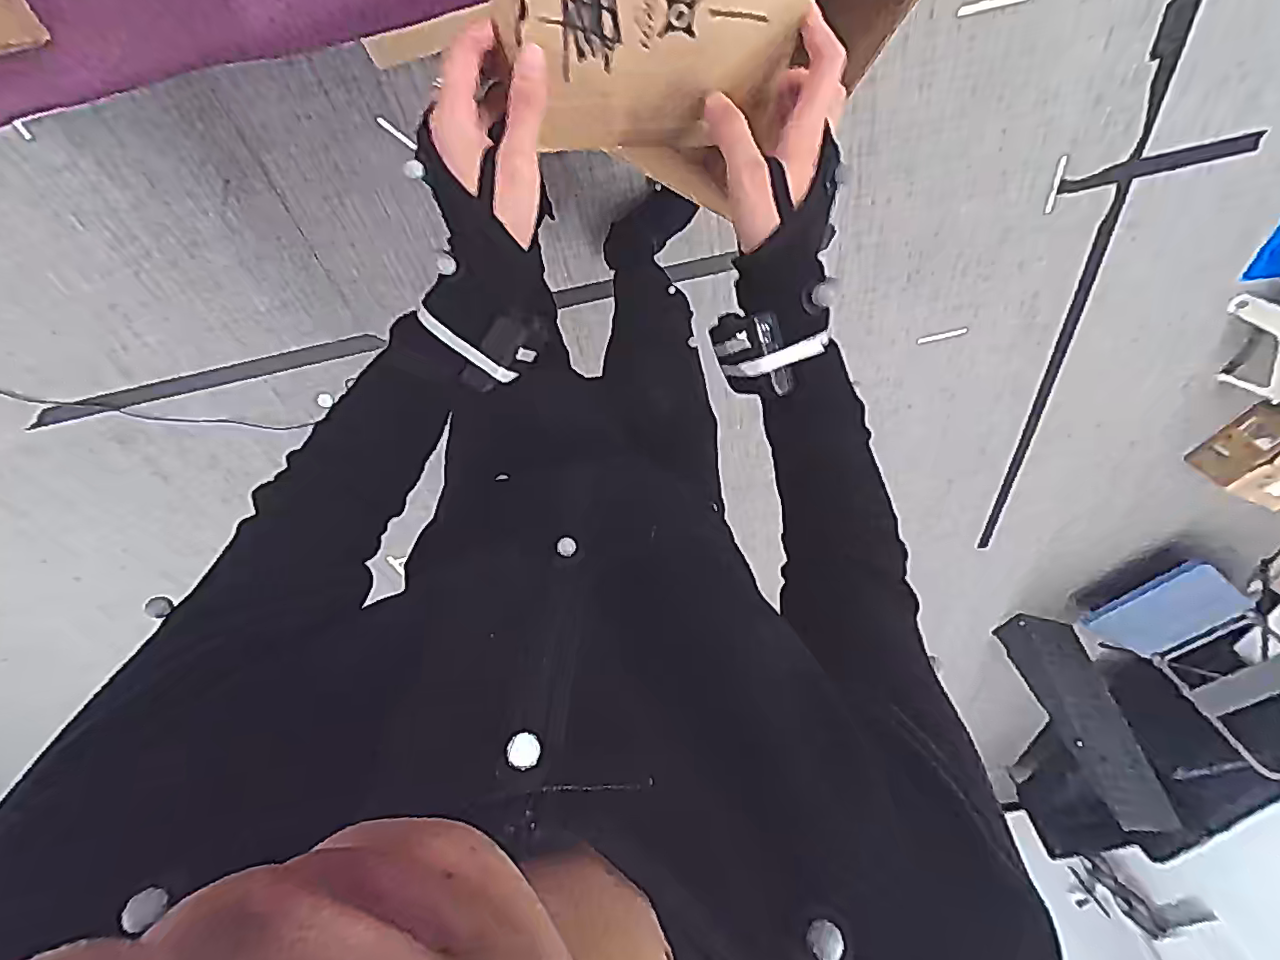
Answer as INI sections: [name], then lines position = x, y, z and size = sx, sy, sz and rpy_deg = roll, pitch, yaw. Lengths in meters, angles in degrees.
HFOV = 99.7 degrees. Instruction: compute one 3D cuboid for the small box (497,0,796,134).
[small box]
position = 0.003, -0.357, 0.337
size = 0.179, 0.176, 0.168
rpy_deg = 0, 158, -7
